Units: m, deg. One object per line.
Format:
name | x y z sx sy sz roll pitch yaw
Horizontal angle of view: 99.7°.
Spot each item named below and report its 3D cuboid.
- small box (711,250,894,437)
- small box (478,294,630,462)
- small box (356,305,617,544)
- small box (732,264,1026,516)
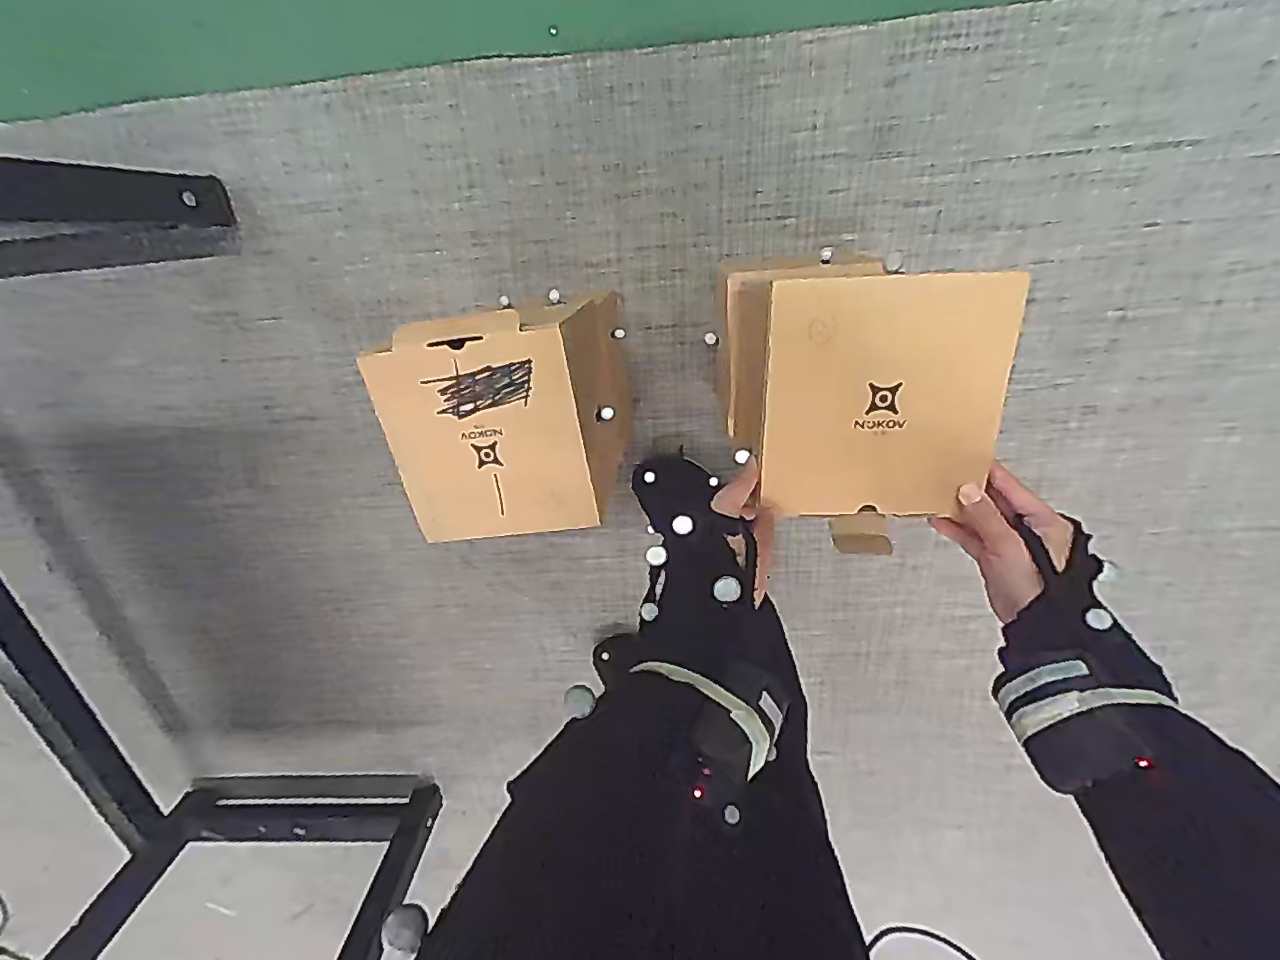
small box | 0.172 -0.163 0.626 0.168 0.176 0.179 -2 116 4
small box | -0.108 -0.125 0.661 0.168 0.176 0.179 -6 115 7
small box | -0.121 -0.062 0.510 0.168 0.176 0.179 -6 114 8
small box | 0.170 -0.083 0.450 0.168 0.176 0.179 -1 112 3
